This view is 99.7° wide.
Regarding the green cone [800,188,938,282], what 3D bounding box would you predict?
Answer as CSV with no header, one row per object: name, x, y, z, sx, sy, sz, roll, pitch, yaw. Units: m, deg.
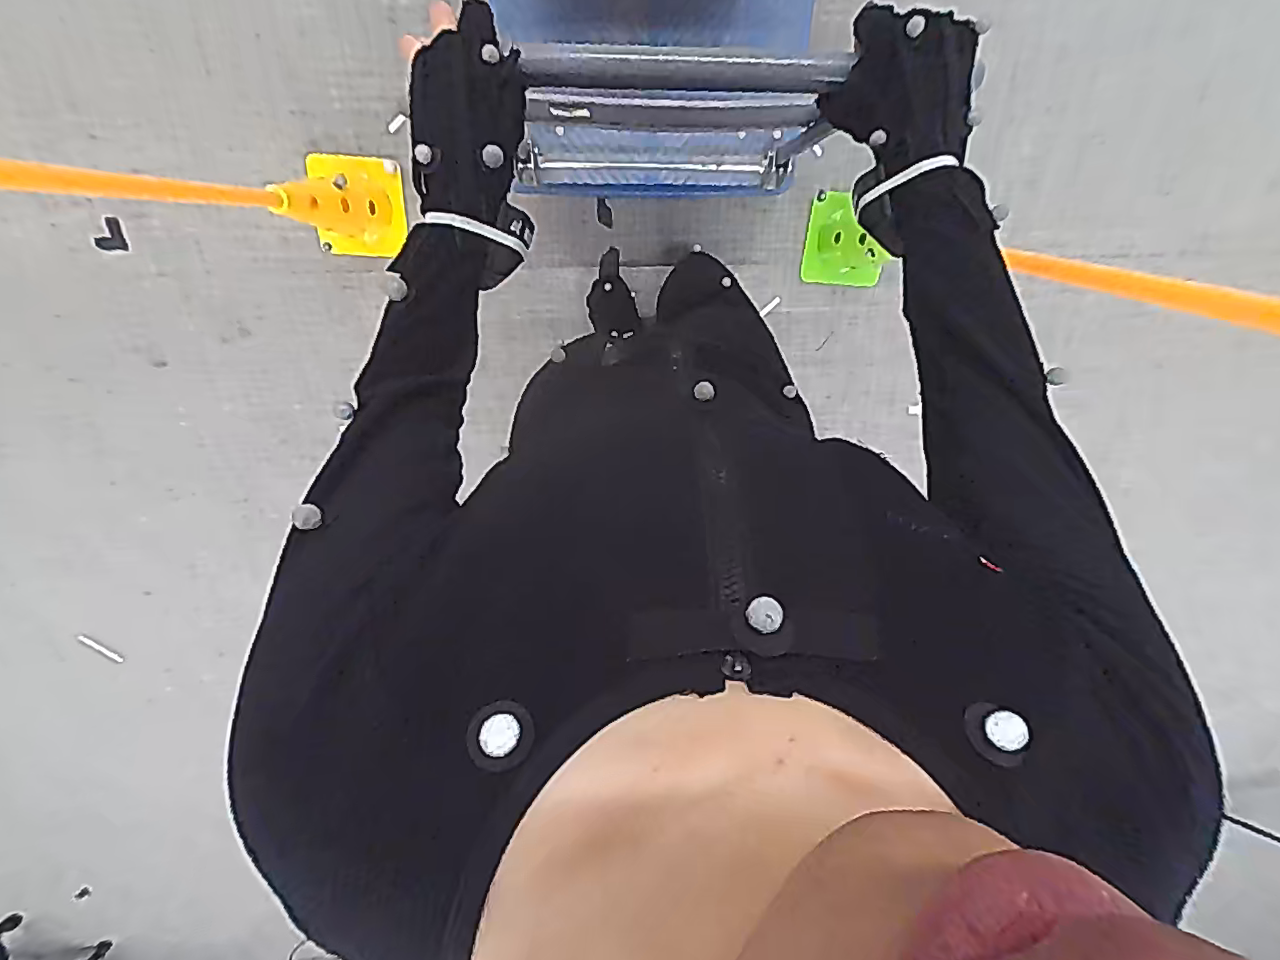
green cone,0.508,-0.515,1.151,0.202,0.368,0.200,2,115,-5
